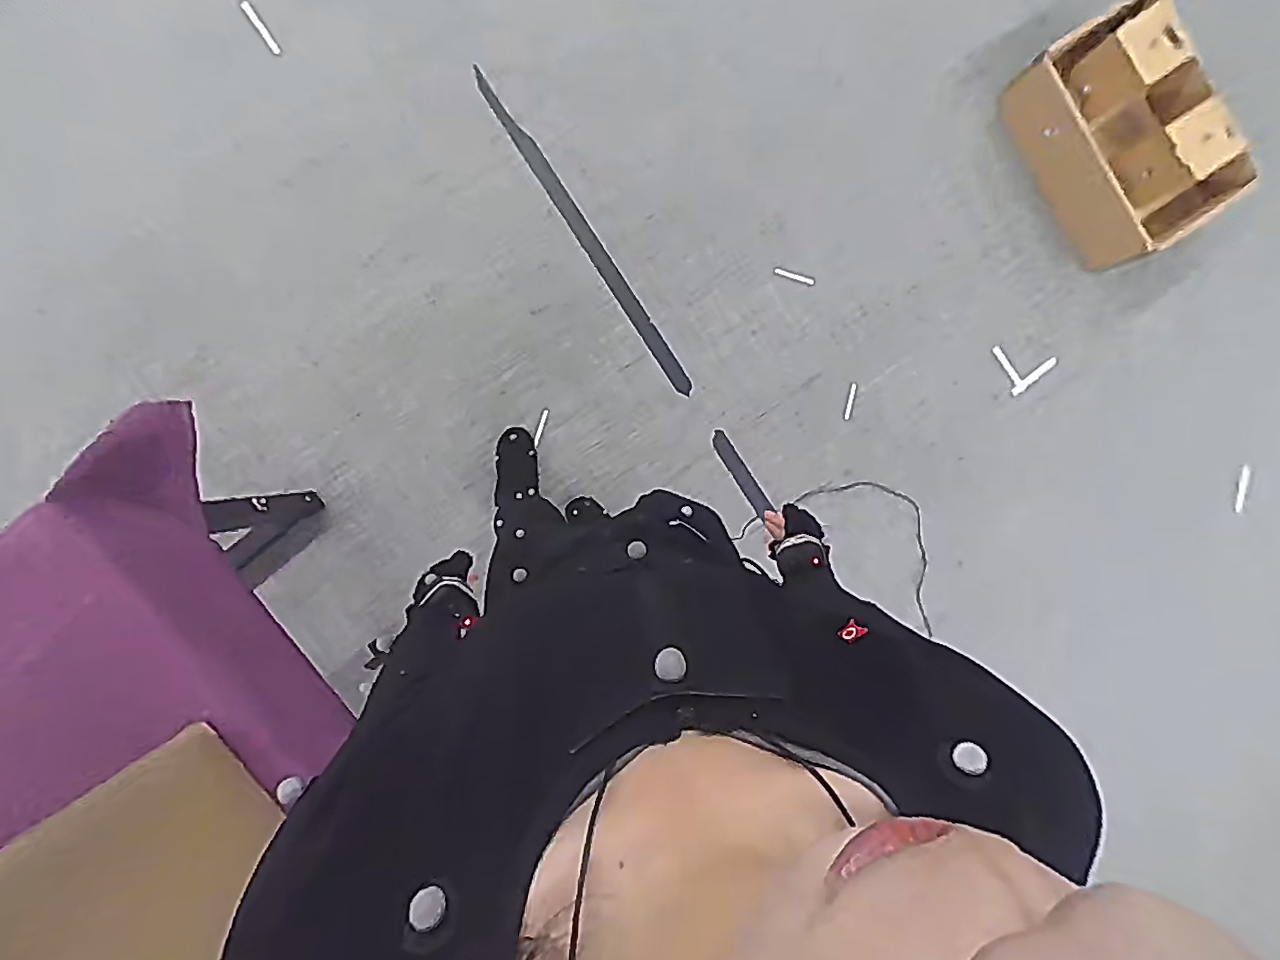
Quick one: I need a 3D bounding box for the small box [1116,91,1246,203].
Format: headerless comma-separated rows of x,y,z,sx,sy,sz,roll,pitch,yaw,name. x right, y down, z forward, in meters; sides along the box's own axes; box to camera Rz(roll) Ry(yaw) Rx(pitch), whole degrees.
1.494,-0.921,1.513,0.179,0.176,0.168,-32,91,-2,small box
